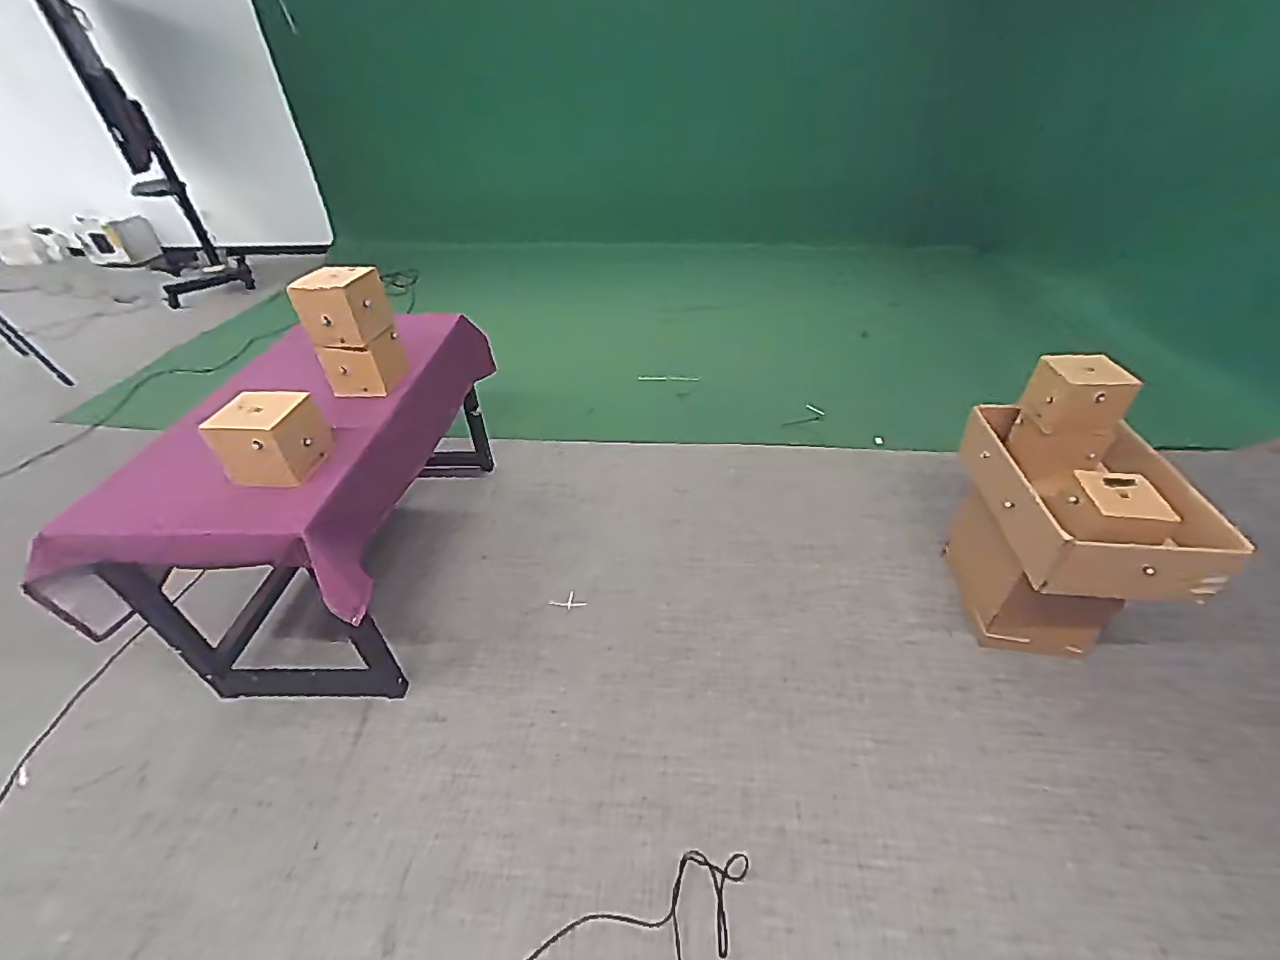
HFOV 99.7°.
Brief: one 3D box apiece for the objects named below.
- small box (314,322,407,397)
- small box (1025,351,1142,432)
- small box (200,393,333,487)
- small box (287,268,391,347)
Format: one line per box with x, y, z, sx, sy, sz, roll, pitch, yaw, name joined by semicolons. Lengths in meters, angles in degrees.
-0.831;-0.362;1.632;0.168;0.176;0.179;0;39;4;small box
1.220;-0.245;1.511;0.179;0.176;0.168;0;40;3;small box
-0.883;-0.094;1.303;0.179;0.176;0.168;1;38;5;small box
-0.834;-0.485;1.524;0.168;0.176;0.179;3;40;7;small box
